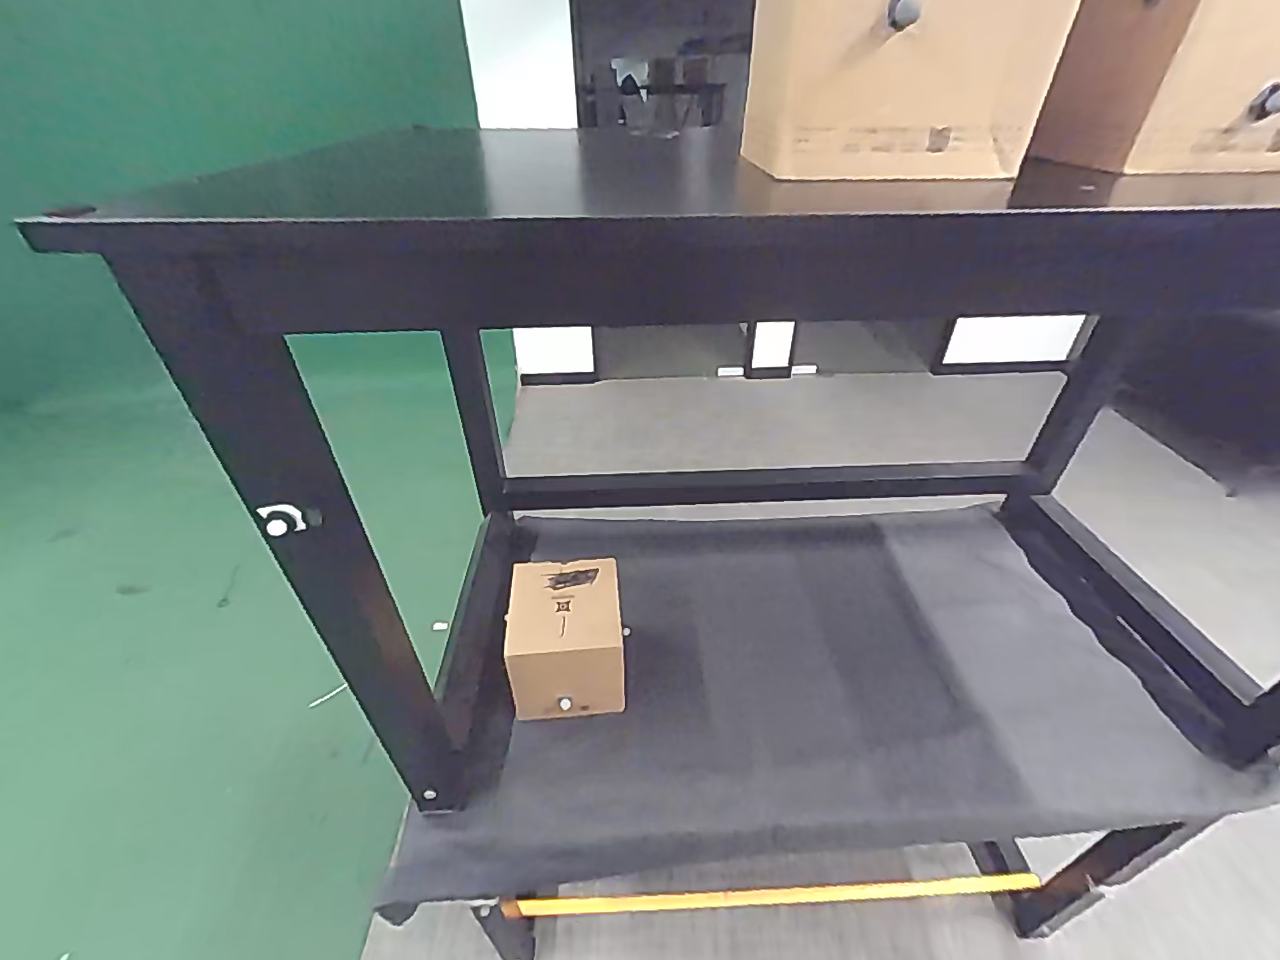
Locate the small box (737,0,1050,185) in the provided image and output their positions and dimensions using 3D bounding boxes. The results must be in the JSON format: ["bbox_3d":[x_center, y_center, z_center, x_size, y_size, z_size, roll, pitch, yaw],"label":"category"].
[{"bbox_3d":[0.168,-0.319,0.394,0.168,0.176,0.179,0,36,1],"label":"small box"}]

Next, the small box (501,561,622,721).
[{"bbox_3d":[-0.115,0.250,0.853,0.168,0.176,0.179,-4,37,-4],"label":"small box"}]
